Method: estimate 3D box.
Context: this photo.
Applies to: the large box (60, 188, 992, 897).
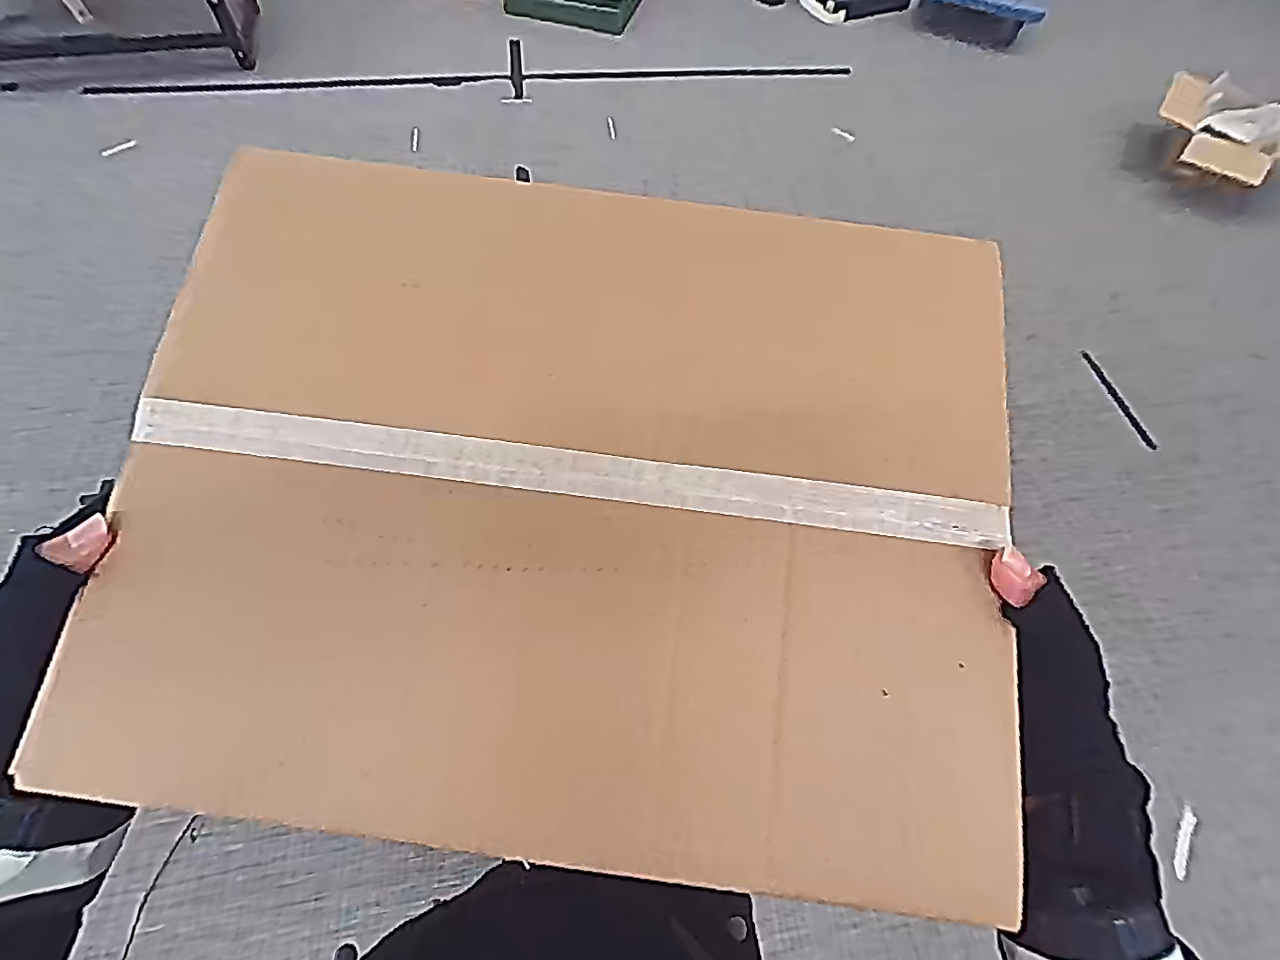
[{"bbox_3d":[-0.036,0.041,0.407,0.408,0.320,0.320,8,77,1],"label":"large box"}]
